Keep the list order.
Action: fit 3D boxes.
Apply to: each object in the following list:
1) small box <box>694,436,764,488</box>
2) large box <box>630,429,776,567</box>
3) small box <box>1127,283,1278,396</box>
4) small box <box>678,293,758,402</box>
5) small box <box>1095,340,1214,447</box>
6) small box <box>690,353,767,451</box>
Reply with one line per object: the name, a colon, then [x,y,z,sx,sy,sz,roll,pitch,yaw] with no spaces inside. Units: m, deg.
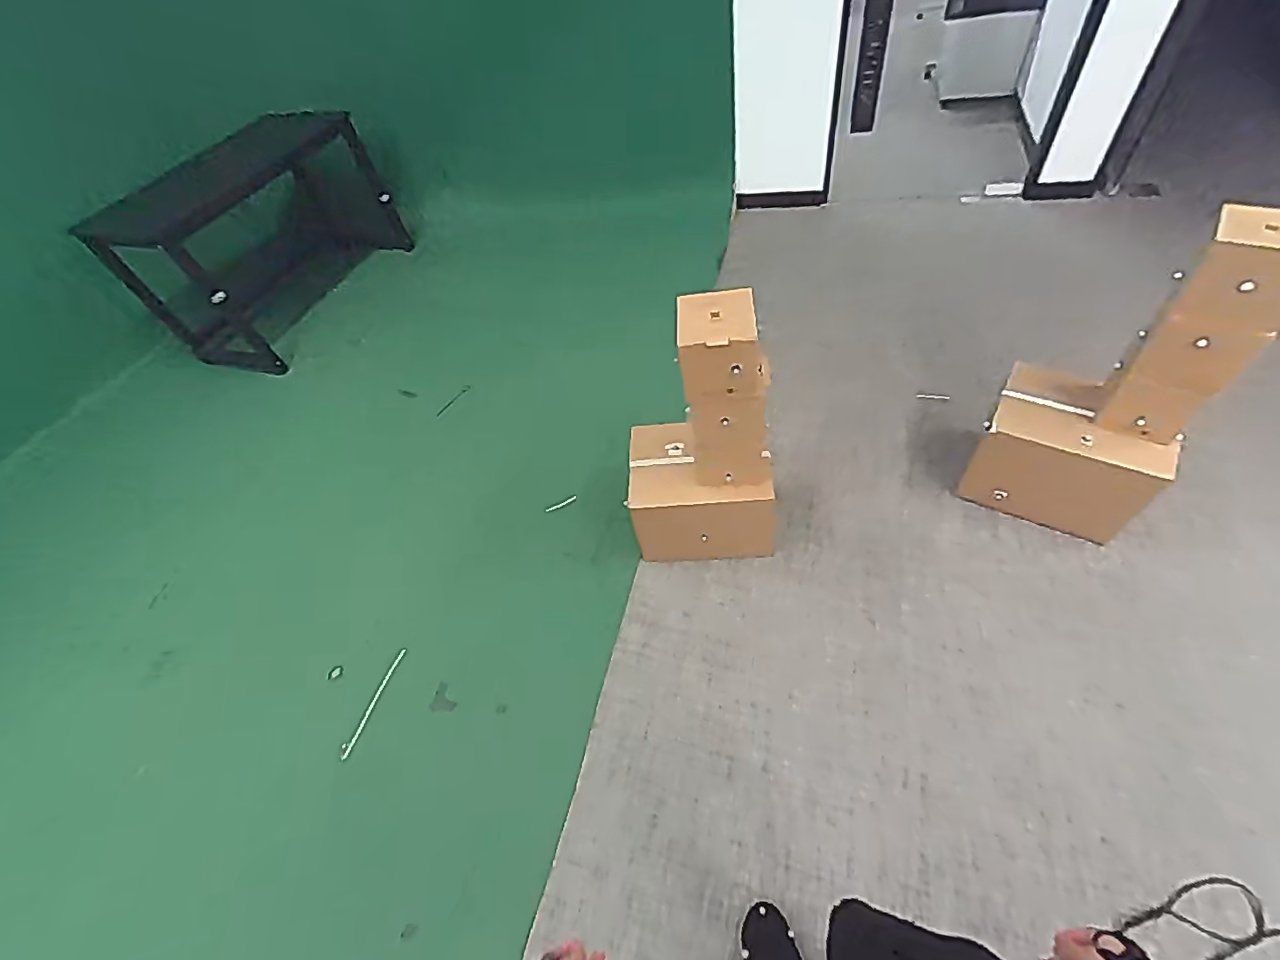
small box: [0.241,-0.089,1.462,0.179,0.176,0.168,-1,52,11]
large box: [0.196,0.054,1.674,0.408,0.320,0.320,-5,50,9]
small box: [1.272,-0.315,1.230,0.179,0.176,0.168,25,59,28]
small box: [0.177,-0.289,1.211,0.168,0.176,0.179,-3,51,9]
small box: [1.287,-0.216,1.358,0.168,0.176,0.179,24,58,27]
small box: [0.215,-0.189,1.334,0.179,0.176,0.168,-5,51,9]
